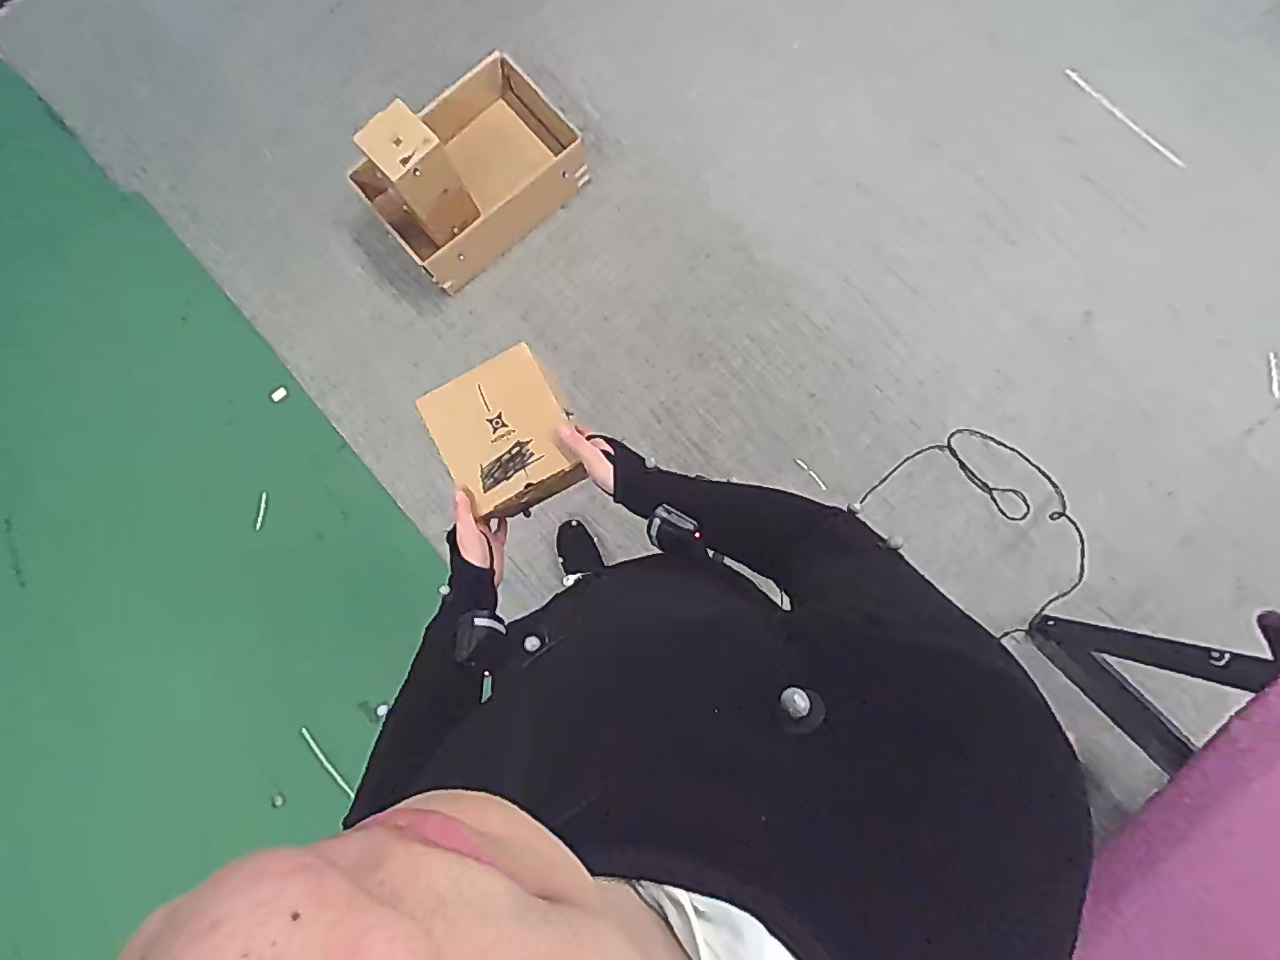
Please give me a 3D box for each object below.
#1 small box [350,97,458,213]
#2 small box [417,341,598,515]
[{"bbox_3d":[-0.635,-0.875,1.473,0.168,0.176,0.179,-44,84,-2],"label":"small box"},{"bbox_3d":[-0.173,-0.064,0.769,0.168,0.176,0.179,-28,85,1],"label":"small box"}]
